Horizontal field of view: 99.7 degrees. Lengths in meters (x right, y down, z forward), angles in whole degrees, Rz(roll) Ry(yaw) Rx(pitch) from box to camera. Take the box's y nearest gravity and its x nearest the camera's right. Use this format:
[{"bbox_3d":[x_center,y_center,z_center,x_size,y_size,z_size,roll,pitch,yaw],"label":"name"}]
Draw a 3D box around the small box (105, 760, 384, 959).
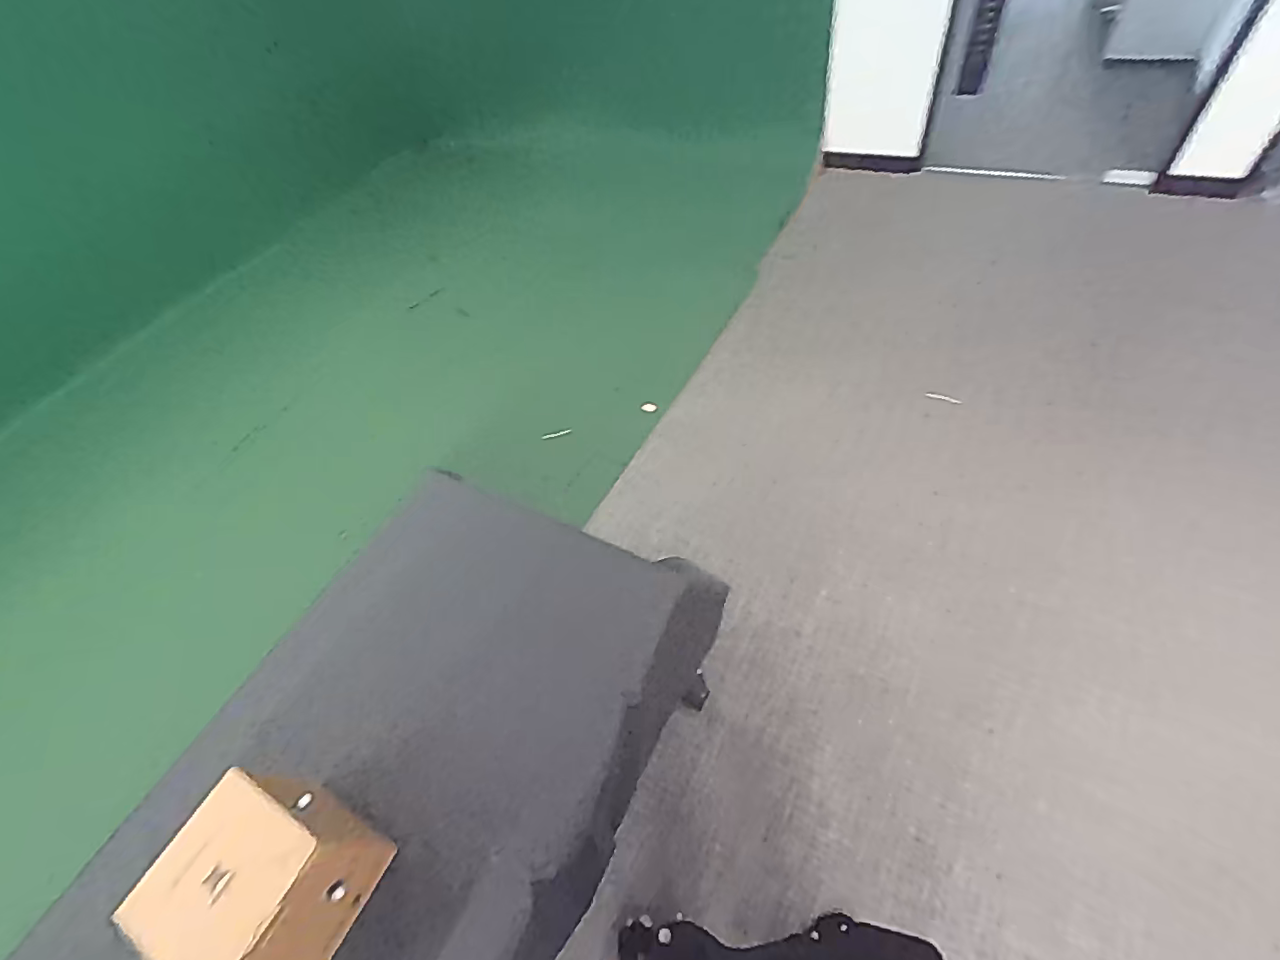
[{"bbox_3d":[-0.455,0.471,0.651,0.179,0.176,0.168,18,59,24],"label":"small box"}]
